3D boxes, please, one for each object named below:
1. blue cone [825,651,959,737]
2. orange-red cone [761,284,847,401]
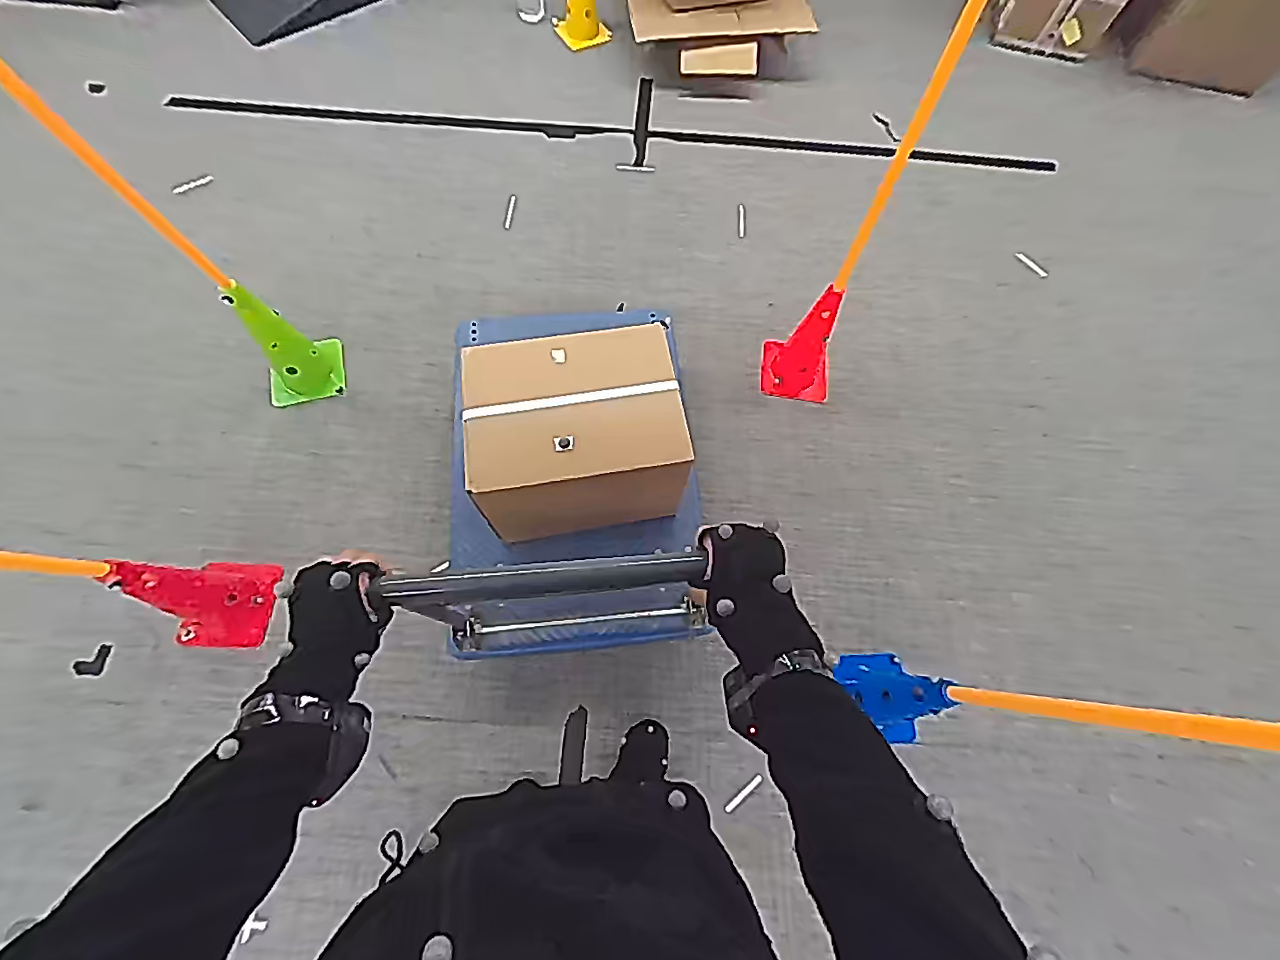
[{"bbox_3d":[0.556,0.442,1.145,0.193,0.380,0.192,0,66,-3],"label":"blue cone"},{"bbox_3d":[0.482,-0.400,1.483,0.199,0.360,0.198,10,68,1],"label":"orange-red cone"}]
